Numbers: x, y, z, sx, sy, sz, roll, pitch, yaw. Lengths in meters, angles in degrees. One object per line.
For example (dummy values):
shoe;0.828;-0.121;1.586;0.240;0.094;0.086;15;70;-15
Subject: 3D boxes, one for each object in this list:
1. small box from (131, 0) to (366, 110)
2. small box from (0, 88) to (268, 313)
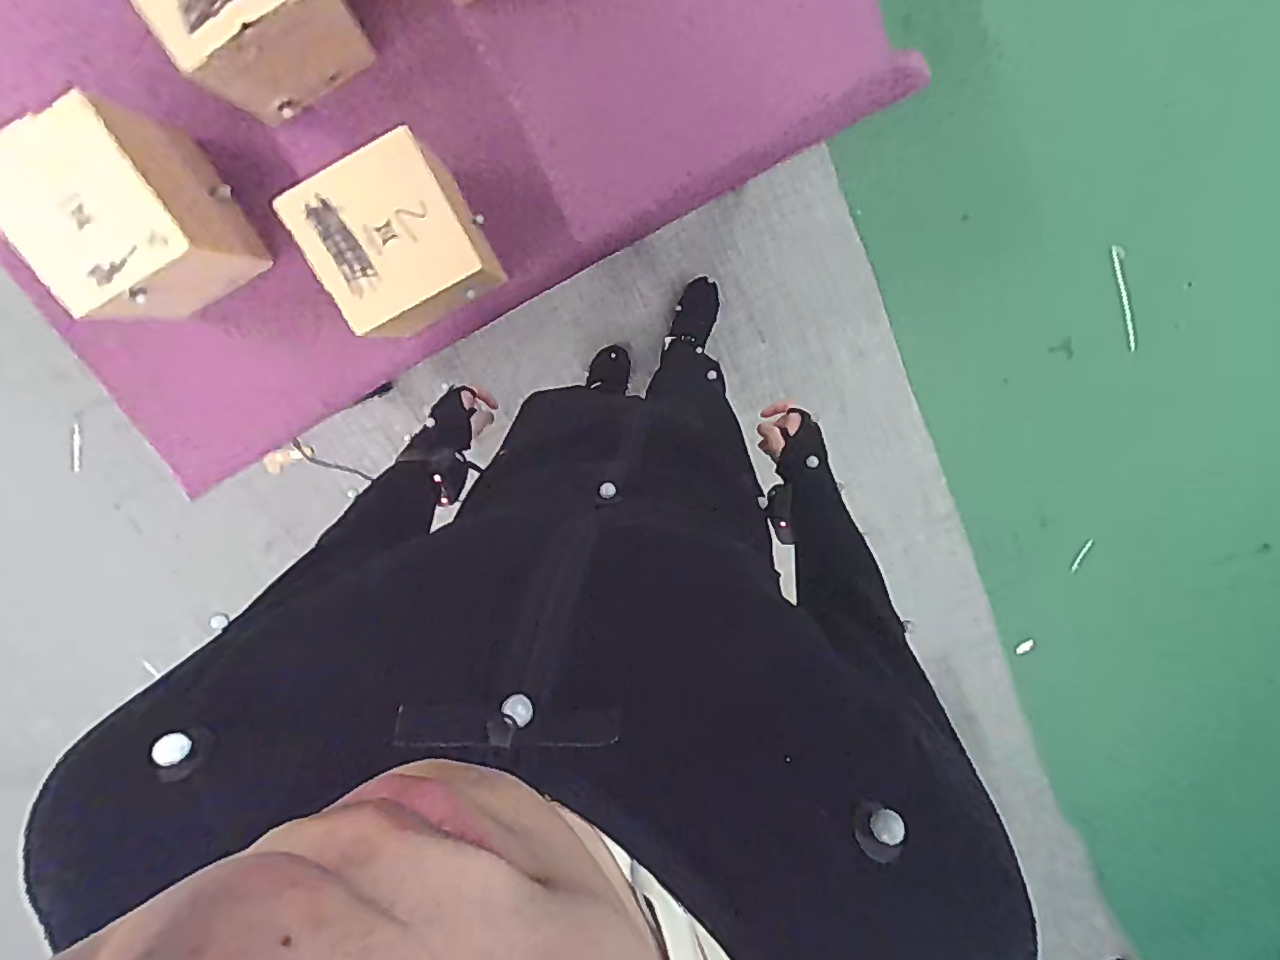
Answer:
small box;-0.450;-0.555;0.605;0.168;0.176;0.179;-29;106;5
small box;-0.619;-0.318;0.661;0.168;0.176;0.179;-27;106;5
